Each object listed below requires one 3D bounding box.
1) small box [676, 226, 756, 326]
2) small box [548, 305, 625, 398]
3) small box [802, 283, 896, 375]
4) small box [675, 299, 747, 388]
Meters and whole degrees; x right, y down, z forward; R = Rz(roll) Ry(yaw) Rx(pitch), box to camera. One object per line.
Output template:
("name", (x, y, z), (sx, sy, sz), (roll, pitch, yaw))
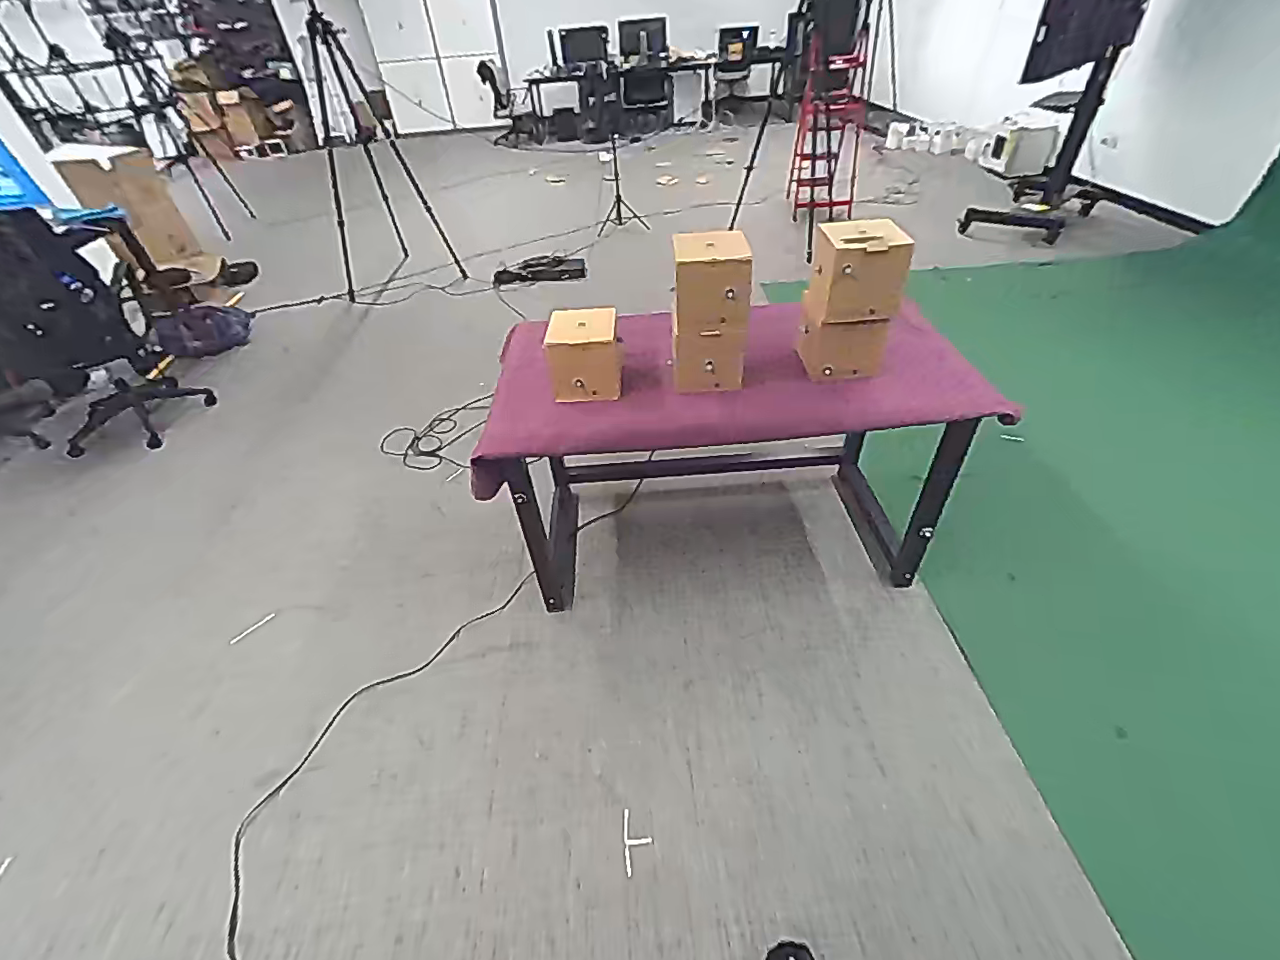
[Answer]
("small box", (0.170, -0.465, 1.247), (0.168, 0.176, 0.179), (-2, 42, 3))
("small box", (-0.129, -0.324, 1.366), (0.168, 0.176, 0.179), (-2, 43, 3))
("small box", (0.515, -0.376, 1.356), (0.168, 0.176, 0.179), (0, 43, 3))
("small box", (0.174, -0.343, 1.356), (0.168, 0.176, 0.179), (-2, 43, 3))
